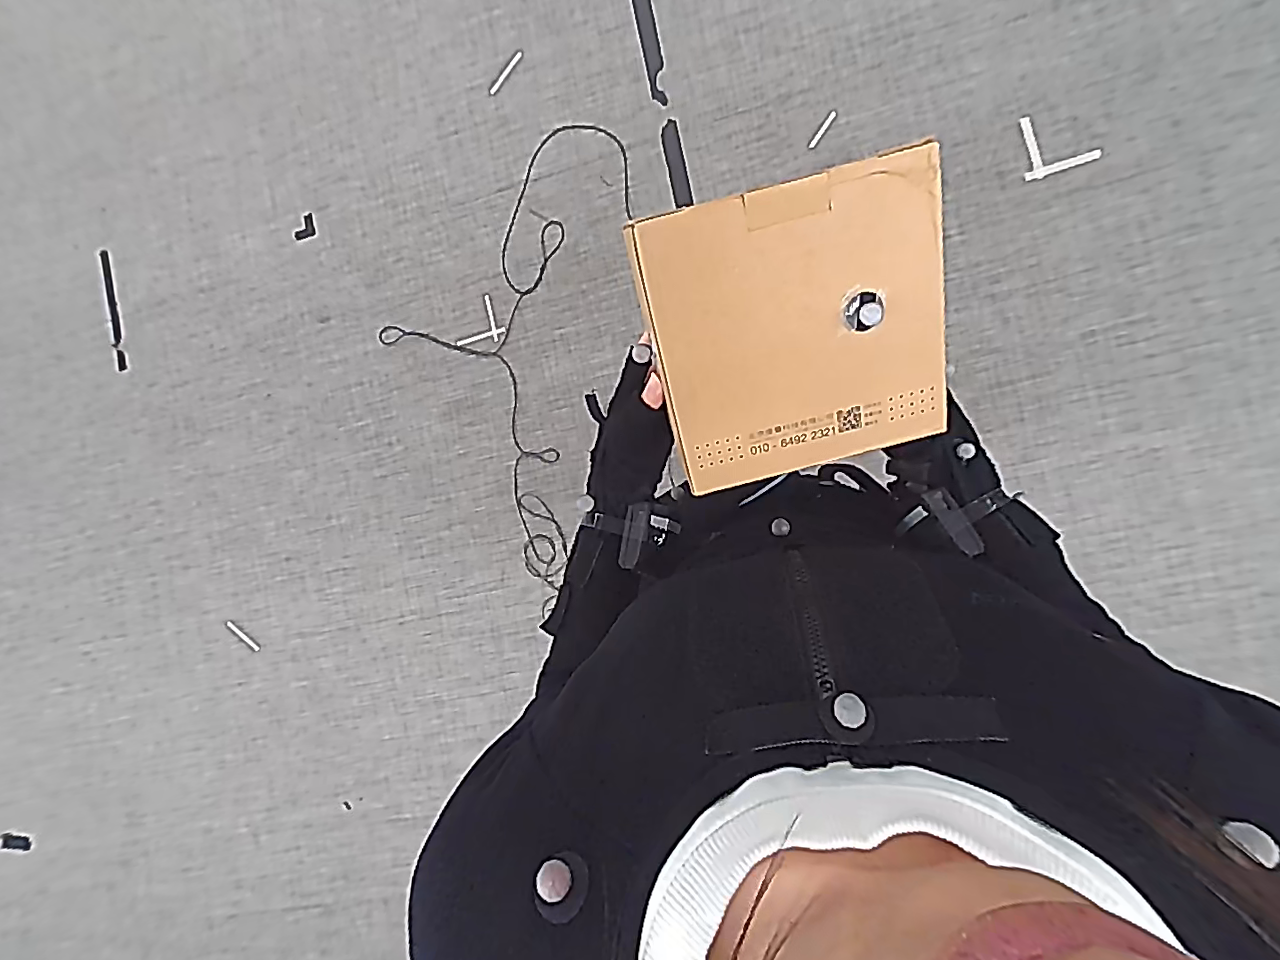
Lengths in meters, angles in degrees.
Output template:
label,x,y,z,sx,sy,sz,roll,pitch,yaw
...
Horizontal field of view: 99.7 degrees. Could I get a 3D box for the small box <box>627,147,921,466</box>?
label,x,y,z,sx,sy,sz,roll,pitch,yaw
small box,0.091,-0.122,0.407,0.168,0.179,0.176,-14,114,3
